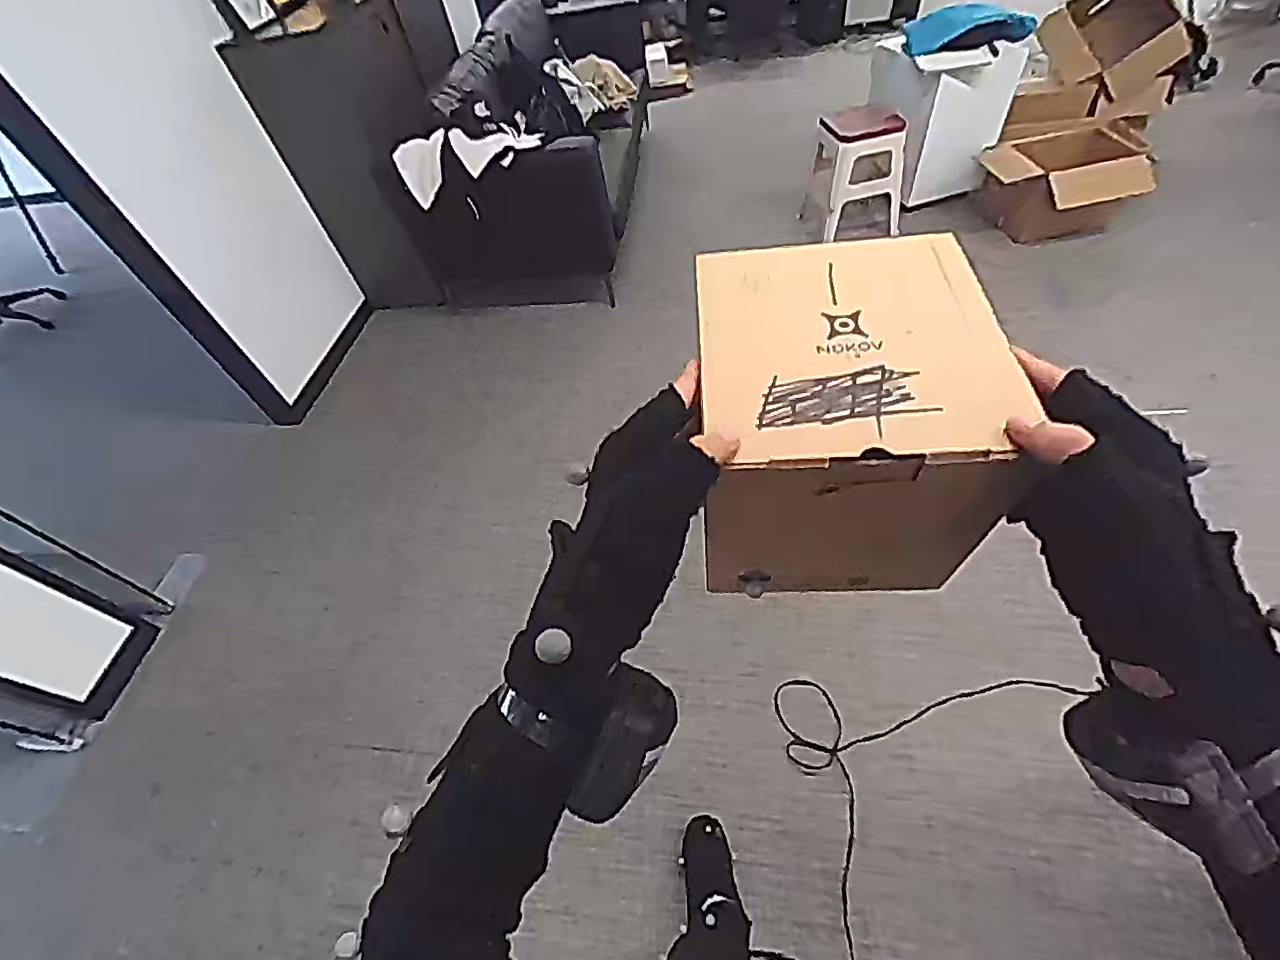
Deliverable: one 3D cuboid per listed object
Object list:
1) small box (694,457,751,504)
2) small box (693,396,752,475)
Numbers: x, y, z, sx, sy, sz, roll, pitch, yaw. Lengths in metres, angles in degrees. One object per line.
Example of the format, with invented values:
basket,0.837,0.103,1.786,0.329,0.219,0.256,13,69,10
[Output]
small box,0.274,-0.032,1.768,0.179,0.176,0.168,0,51,10
small box,0.252,-0.134,1.641,0.168,0.176,0.179,0,51,10
